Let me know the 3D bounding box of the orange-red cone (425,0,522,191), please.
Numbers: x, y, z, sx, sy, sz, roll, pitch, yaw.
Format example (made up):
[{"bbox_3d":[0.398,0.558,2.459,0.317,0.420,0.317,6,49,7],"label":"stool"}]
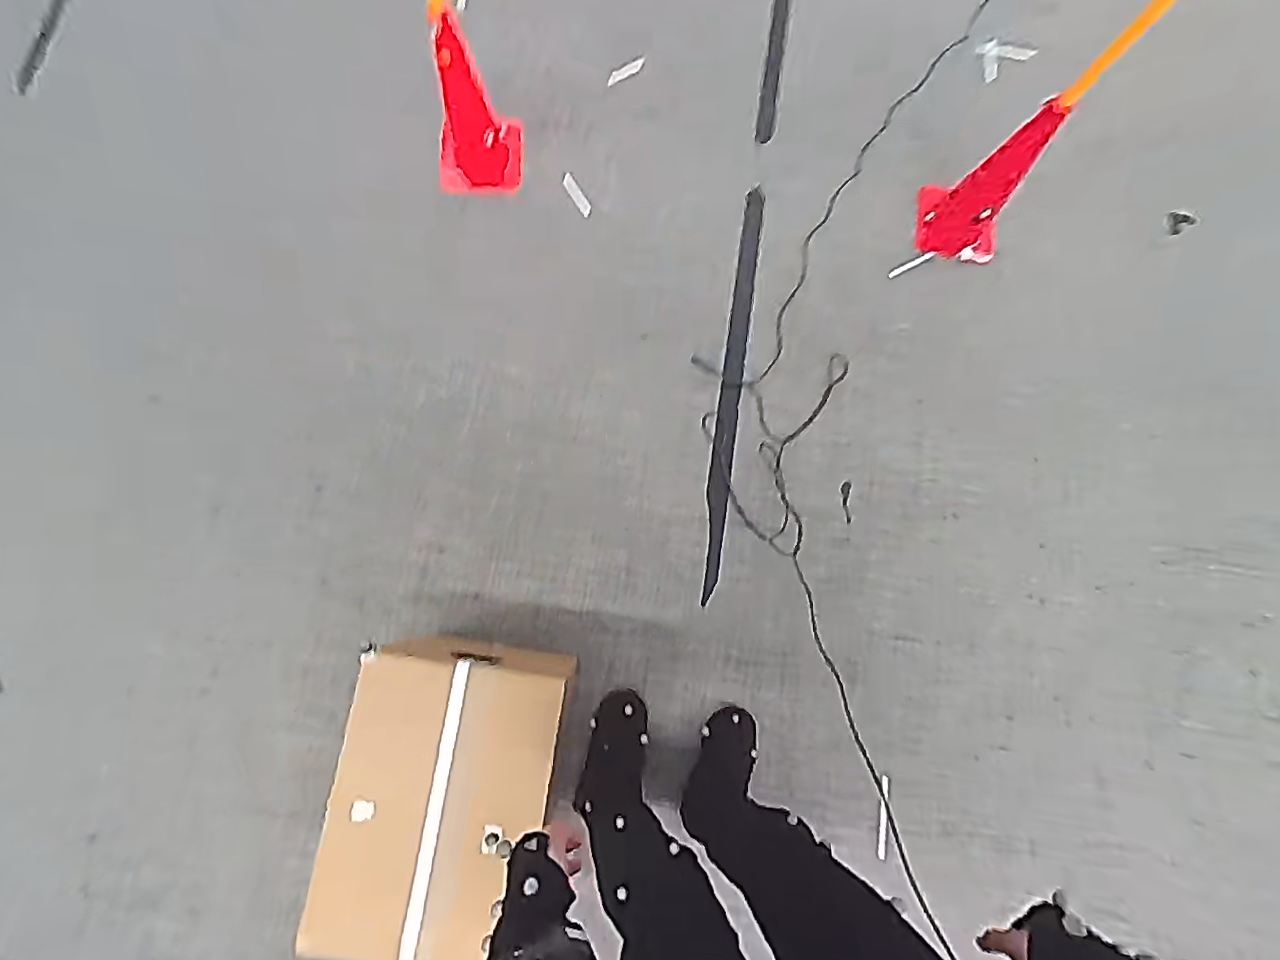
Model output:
[{"bbox_3d":[-0.392,-0.839,1.176,0.199,0.360,0.198,0,77,-2],"label":"orange-red cone"}]
